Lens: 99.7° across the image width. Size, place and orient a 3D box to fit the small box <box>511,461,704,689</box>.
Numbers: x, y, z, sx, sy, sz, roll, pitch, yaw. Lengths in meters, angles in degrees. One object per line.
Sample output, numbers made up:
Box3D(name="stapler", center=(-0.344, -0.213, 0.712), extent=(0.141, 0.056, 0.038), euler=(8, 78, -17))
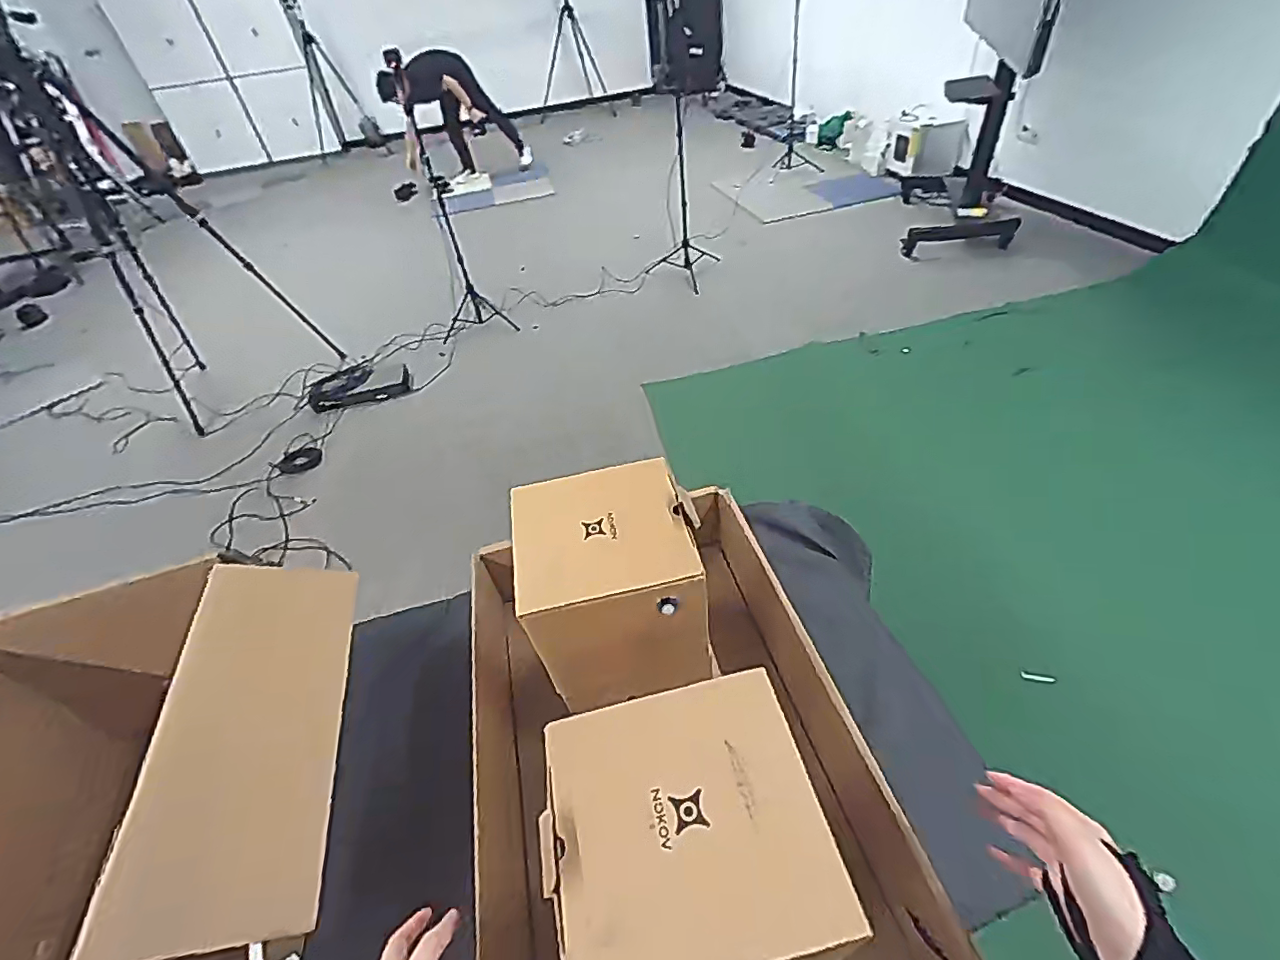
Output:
Box3D(name="small box", center=(-0.034, 0.108, 0.598), extent=(0.179, 0.176, 0.168), euler=(-12, 46, -4))

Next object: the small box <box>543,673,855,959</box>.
Box3D(name="small box", center=(0.035, 0.279, 0.413), extent=(0.179, 0.176, 0.168), euler=(-13, 45, -4))
